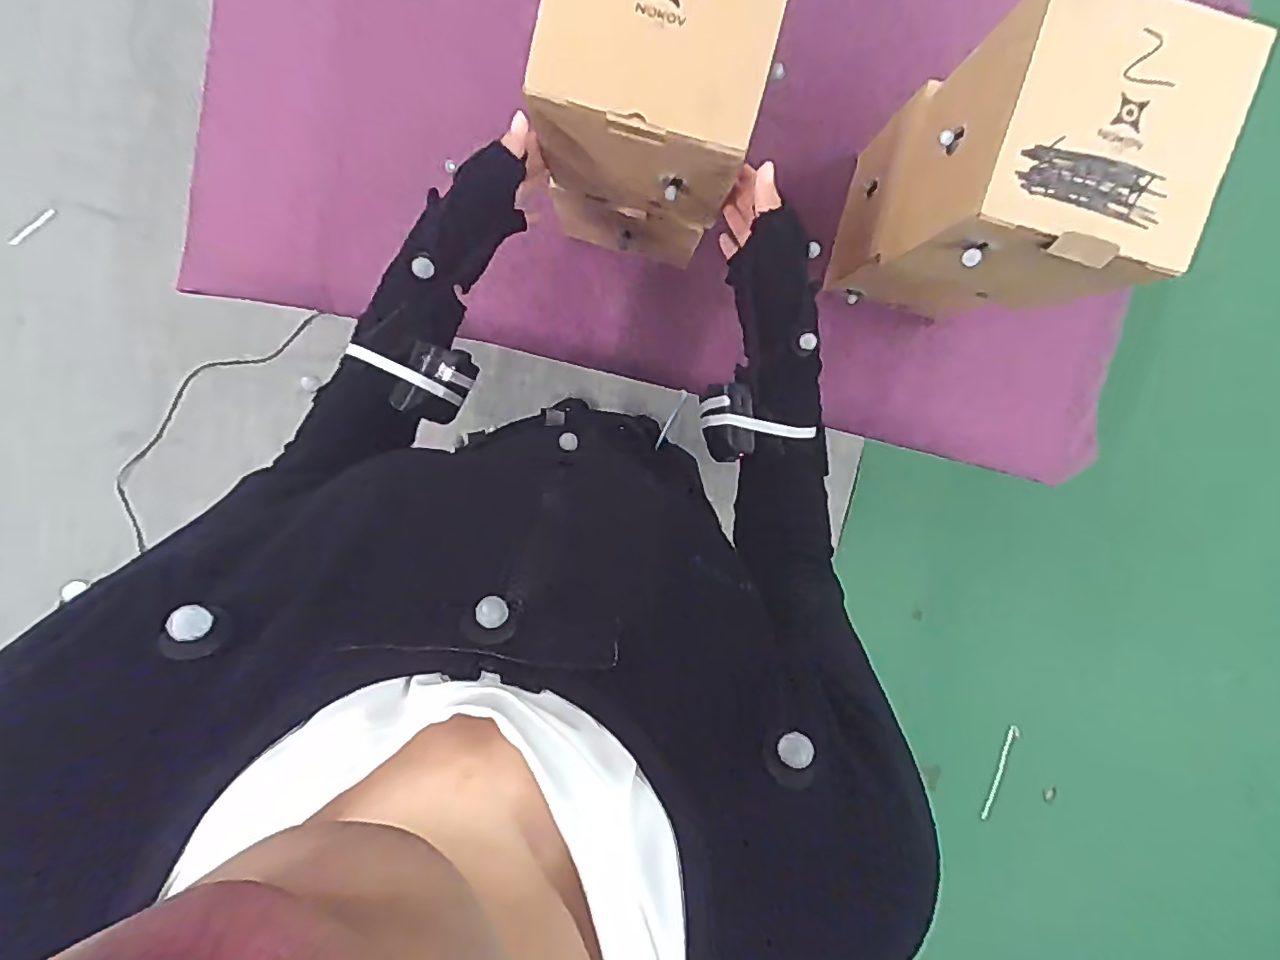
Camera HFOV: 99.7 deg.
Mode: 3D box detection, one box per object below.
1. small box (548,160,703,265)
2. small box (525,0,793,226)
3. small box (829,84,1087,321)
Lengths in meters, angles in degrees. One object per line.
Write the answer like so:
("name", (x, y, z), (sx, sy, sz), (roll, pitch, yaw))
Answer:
("small box", (0.008, -0.363, 0.609), (0.168, 0.176, 0.179), (16, 98, -4))
("small box", (0.019, -0.339, 0.448), (0.168, 0.176, 0.179), (15, 97, -4))
("small box", (0.343, -0.296, 0.625), (0.168, 0.176, 0.179), (16, 98, -6))
